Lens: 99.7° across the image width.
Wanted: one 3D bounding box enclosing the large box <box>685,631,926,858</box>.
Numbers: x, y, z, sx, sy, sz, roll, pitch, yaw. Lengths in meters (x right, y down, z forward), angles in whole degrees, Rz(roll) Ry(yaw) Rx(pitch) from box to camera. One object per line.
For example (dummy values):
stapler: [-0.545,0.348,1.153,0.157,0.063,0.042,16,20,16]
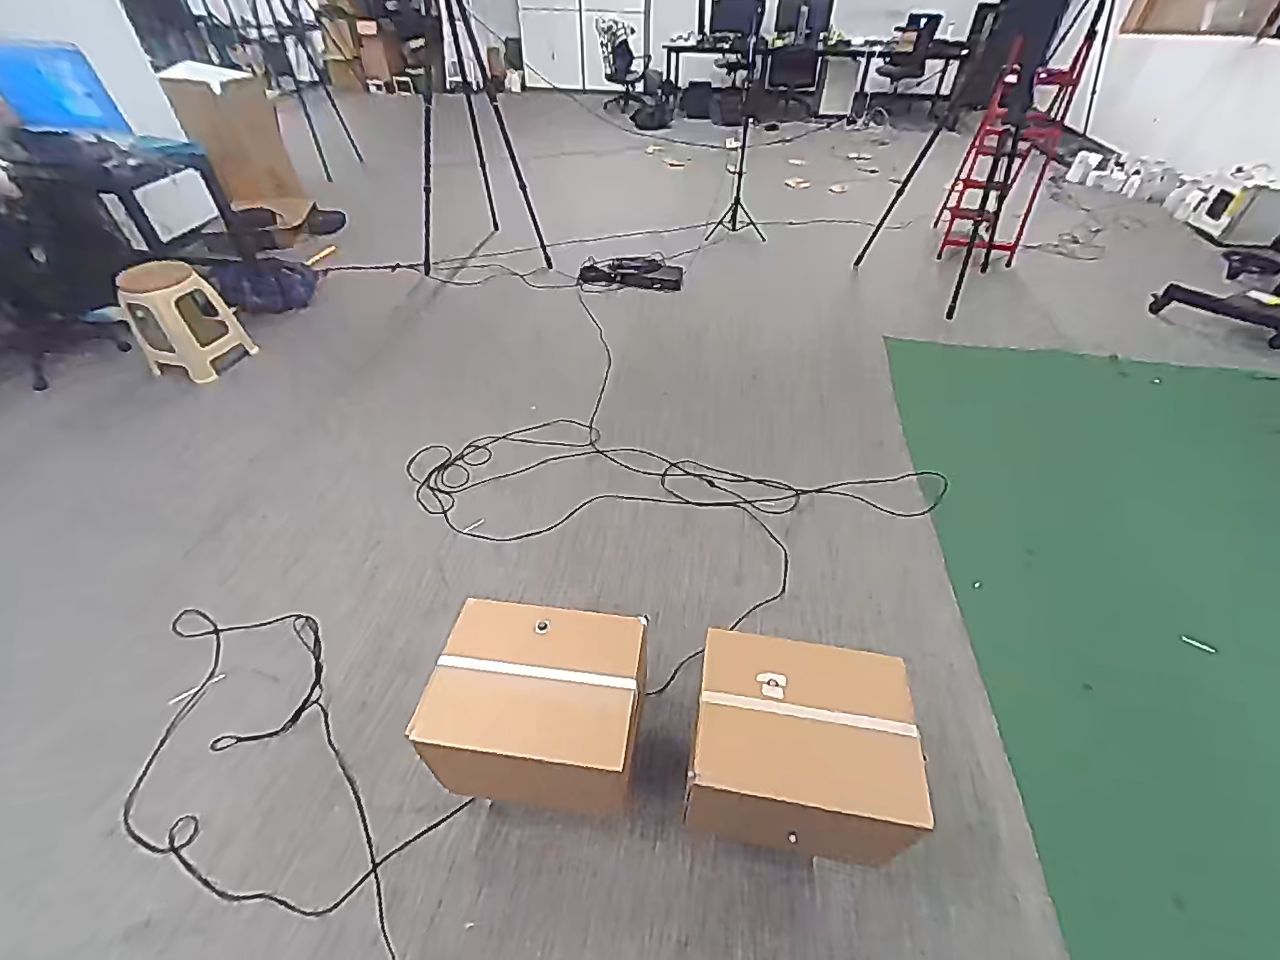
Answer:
large box: [0.318,0.559,1.144,0.408,0.320,0.320,7,44,8]
